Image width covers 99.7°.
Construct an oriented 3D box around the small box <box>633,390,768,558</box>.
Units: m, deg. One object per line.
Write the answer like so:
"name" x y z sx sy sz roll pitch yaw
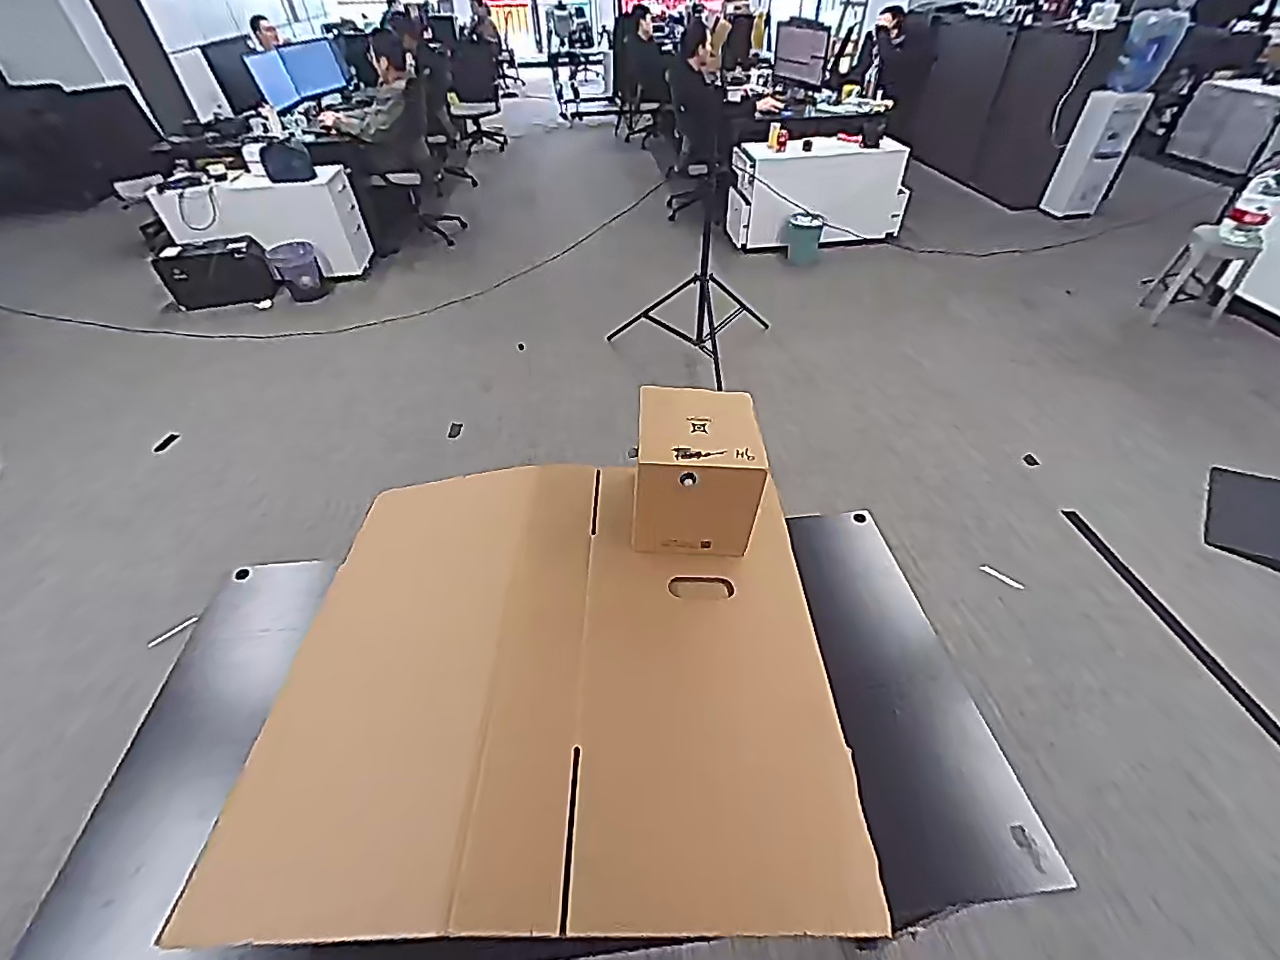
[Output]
"small box" 0.076 -0.010 0.785 0.168 0.176 0.179 2 41 -1
